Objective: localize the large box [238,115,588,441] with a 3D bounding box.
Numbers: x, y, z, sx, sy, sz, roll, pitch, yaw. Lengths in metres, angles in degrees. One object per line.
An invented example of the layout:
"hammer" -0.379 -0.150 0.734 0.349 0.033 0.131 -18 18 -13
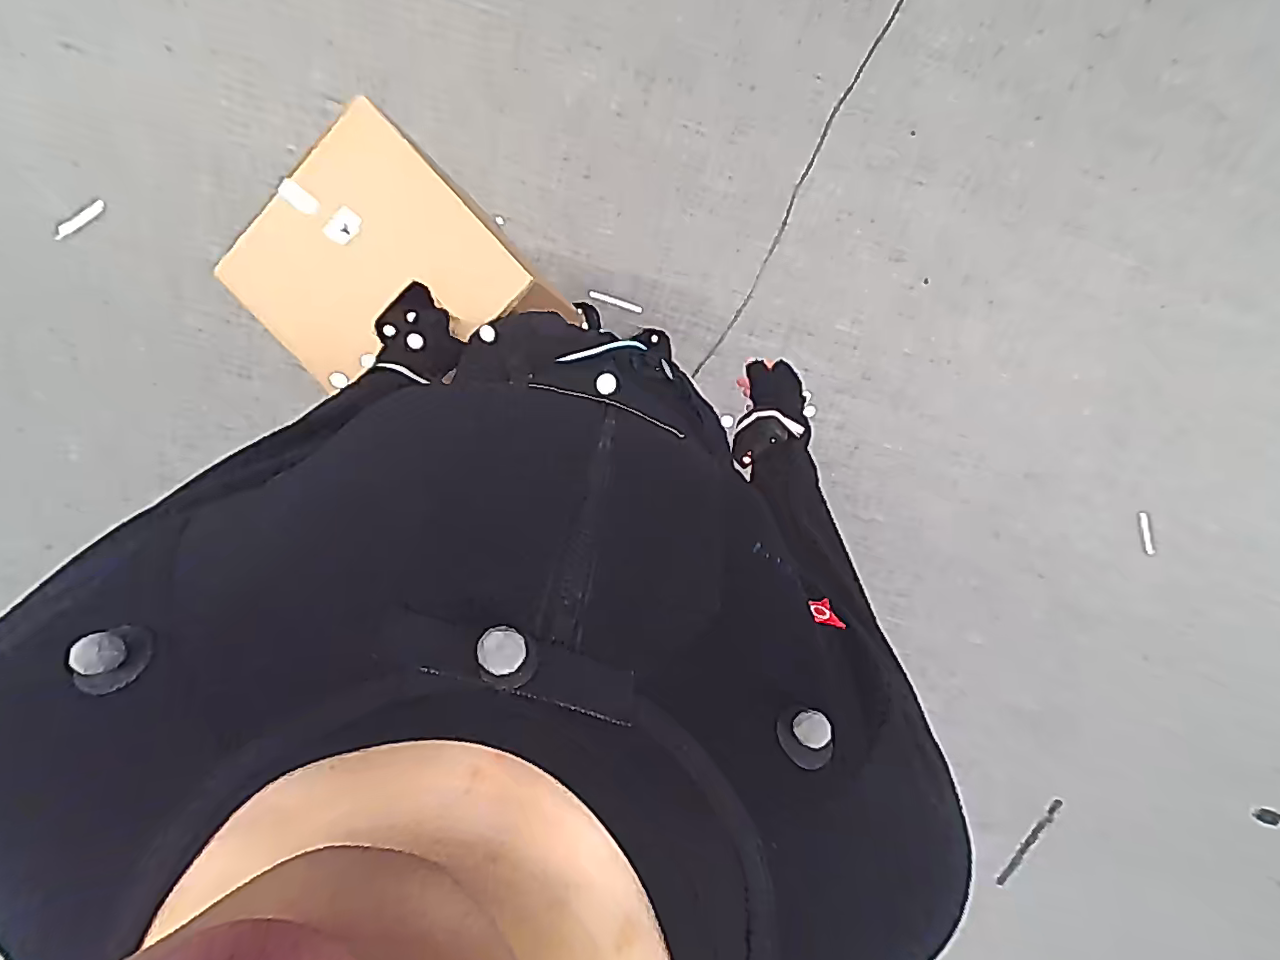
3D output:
"large box" -0.330 -0.297 0.910 0.320 0.408 0.320 -40 96 9
